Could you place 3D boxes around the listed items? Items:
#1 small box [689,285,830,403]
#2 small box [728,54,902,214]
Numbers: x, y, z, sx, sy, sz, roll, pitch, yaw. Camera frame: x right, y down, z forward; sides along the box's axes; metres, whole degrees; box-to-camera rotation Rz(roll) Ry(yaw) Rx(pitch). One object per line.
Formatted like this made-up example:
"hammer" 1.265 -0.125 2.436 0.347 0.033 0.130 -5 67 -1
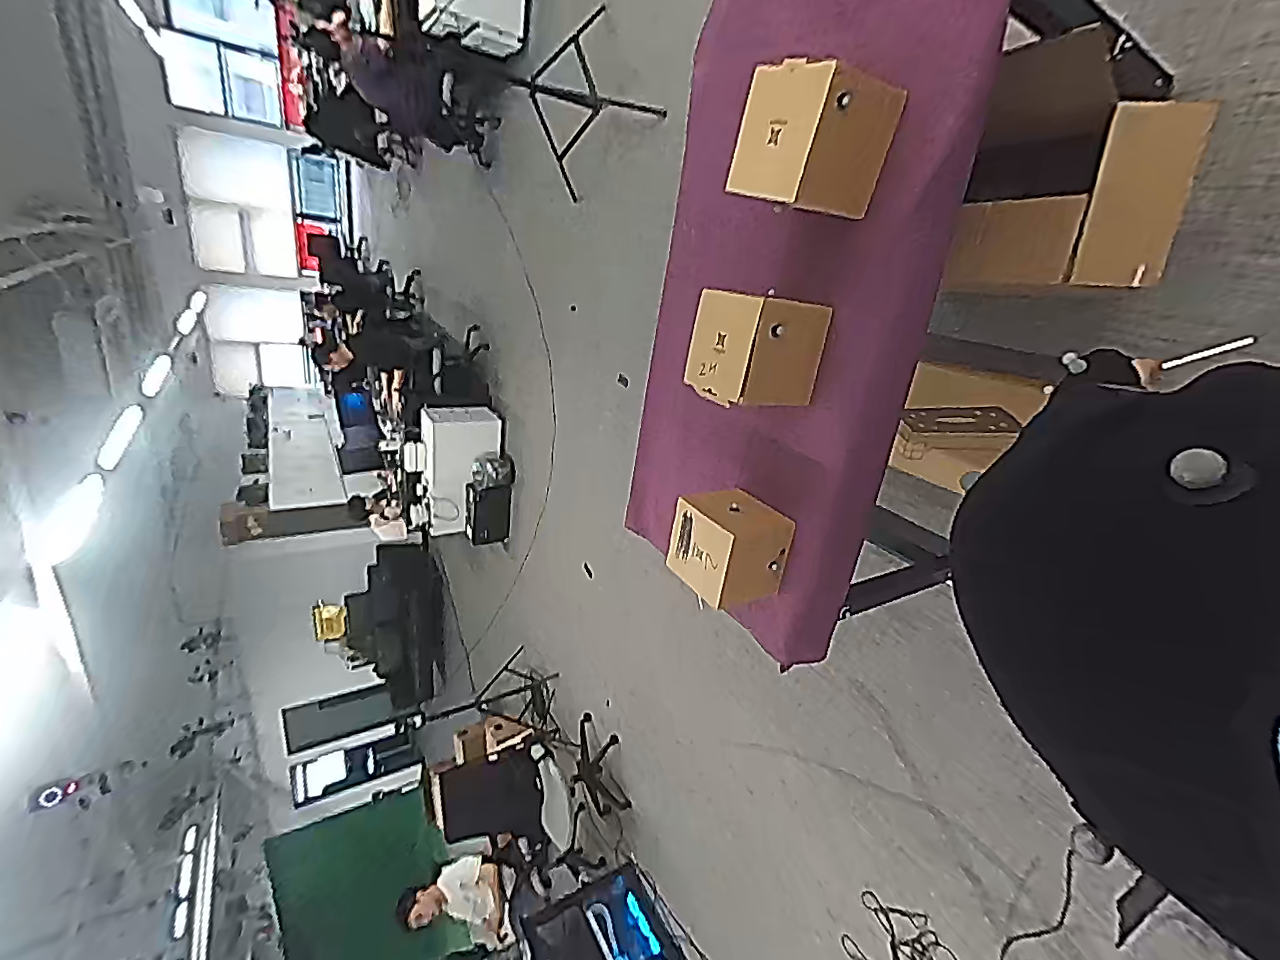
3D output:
"small box" 0.214 -0.246 0.977 0.168 0.176 0.179 38 127 52
"small box" 0.269 -0.529 0.842 0.168 0.176 0.179 44 131 45
